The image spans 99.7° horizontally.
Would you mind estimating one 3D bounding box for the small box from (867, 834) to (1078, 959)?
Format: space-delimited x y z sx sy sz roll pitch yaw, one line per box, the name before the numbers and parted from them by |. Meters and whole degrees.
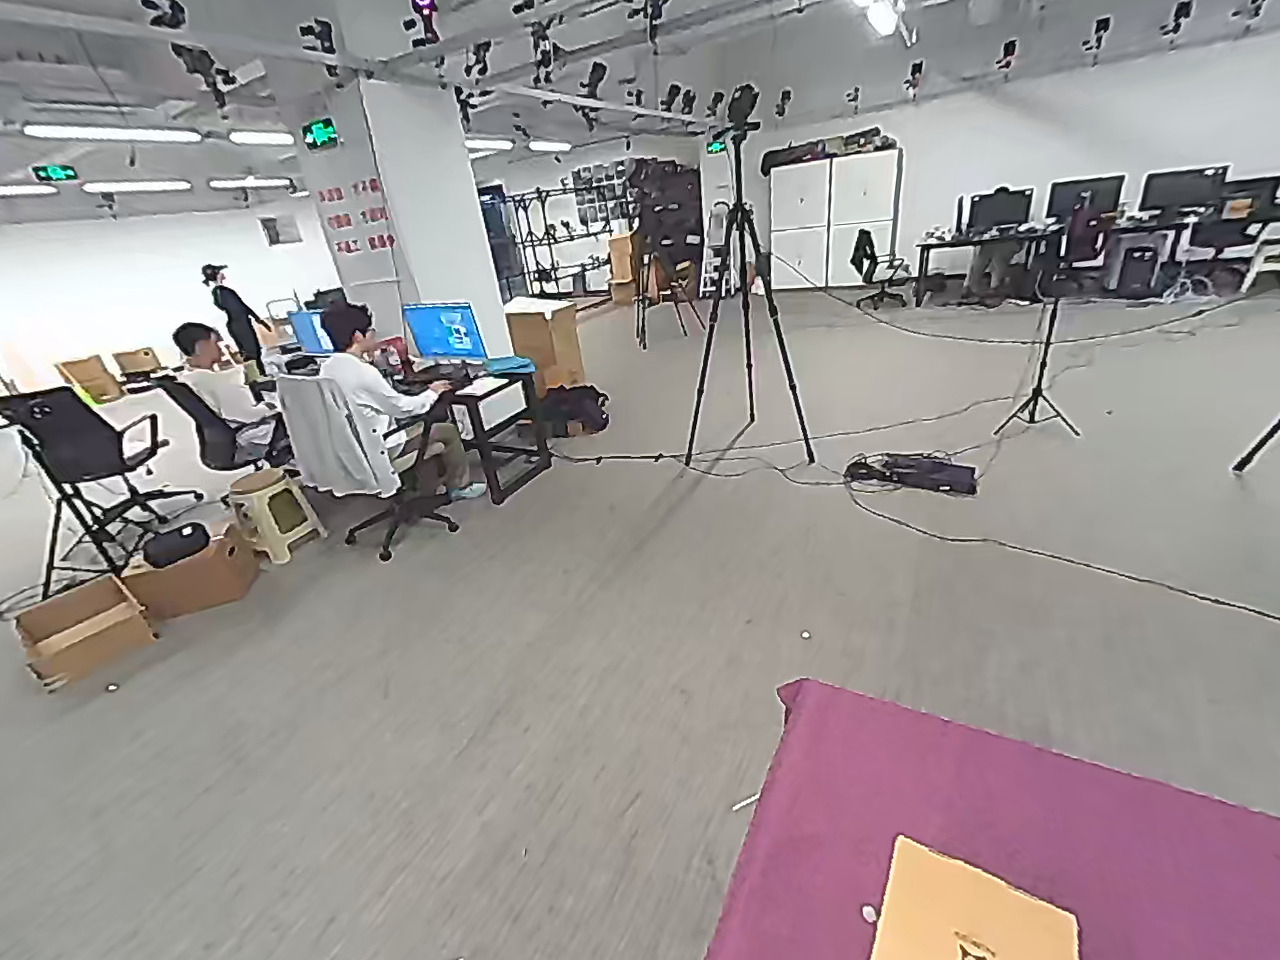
small box | 0.329 0.526 0.551 0.168 0.176 0.179 10 30 33
